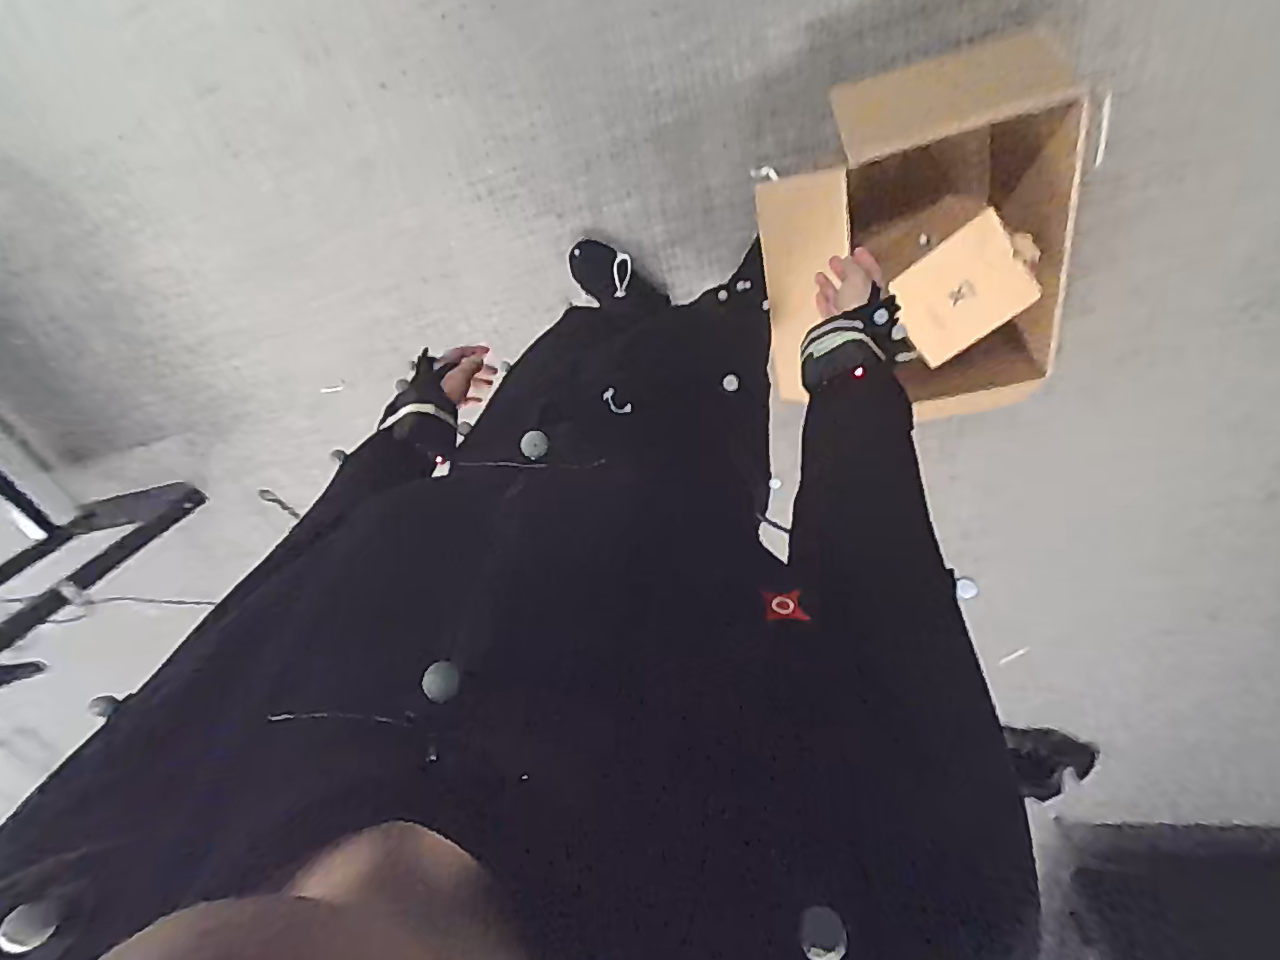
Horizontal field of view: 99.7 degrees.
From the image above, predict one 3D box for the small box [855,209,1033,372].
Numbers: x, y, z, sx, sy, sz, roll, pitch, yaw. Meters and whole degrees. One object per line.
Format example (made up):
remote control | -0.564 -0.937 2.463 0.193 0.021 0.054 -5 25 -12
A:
small box | 0.486 -0.317 0.891 0.179 0.176 0.168 -36 112 26
